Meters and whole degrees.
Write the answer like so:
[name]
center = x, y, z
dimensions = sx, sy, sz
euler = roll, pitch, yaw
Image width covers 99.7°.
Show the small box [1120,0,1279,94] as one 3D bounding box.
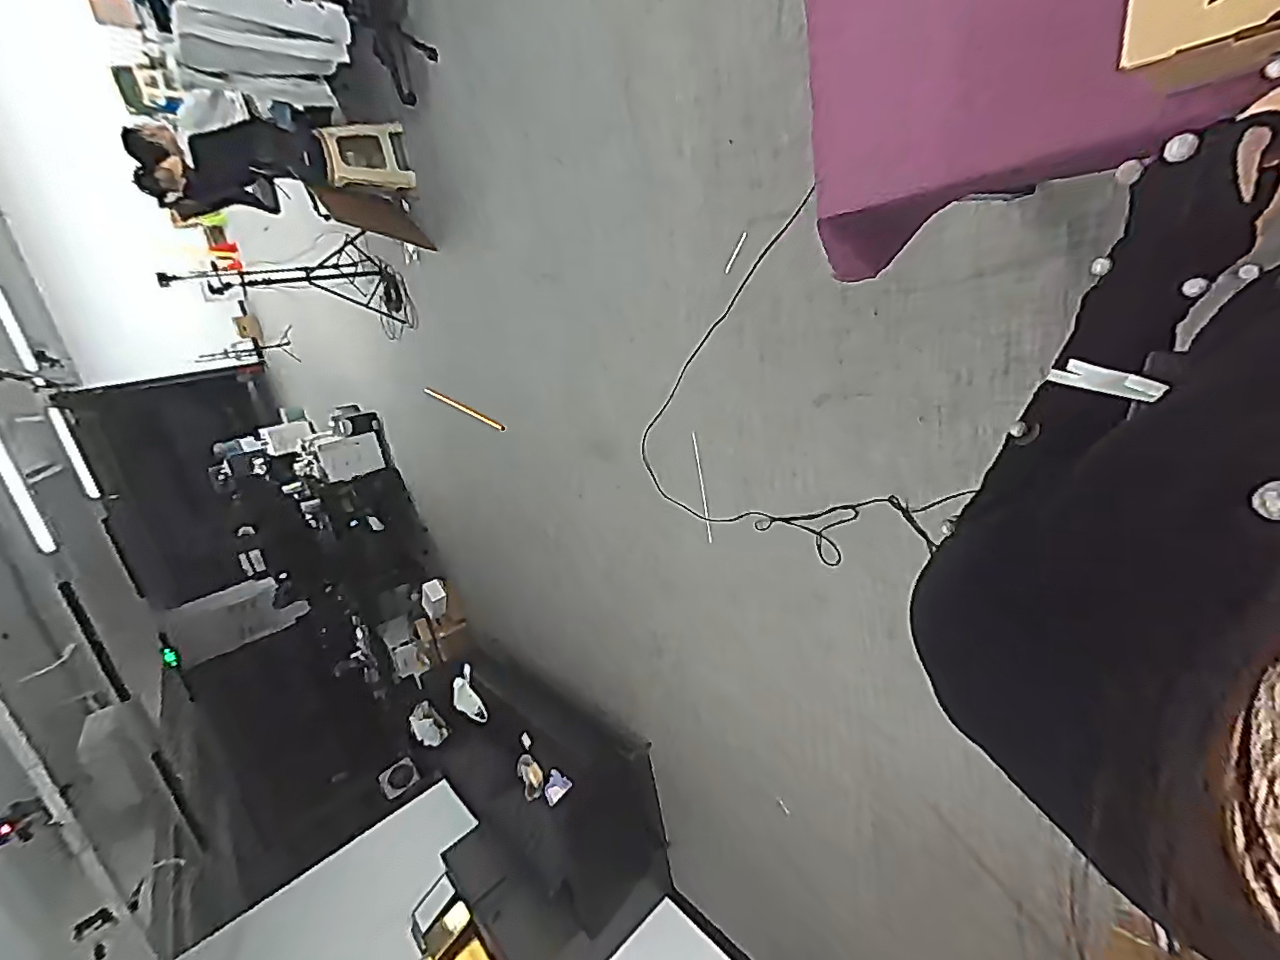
[small box]
center = 0.476, -0.408, 0.382
dimensions = 0.168, 0.176, 0.179
euler = 15, 119, 48
